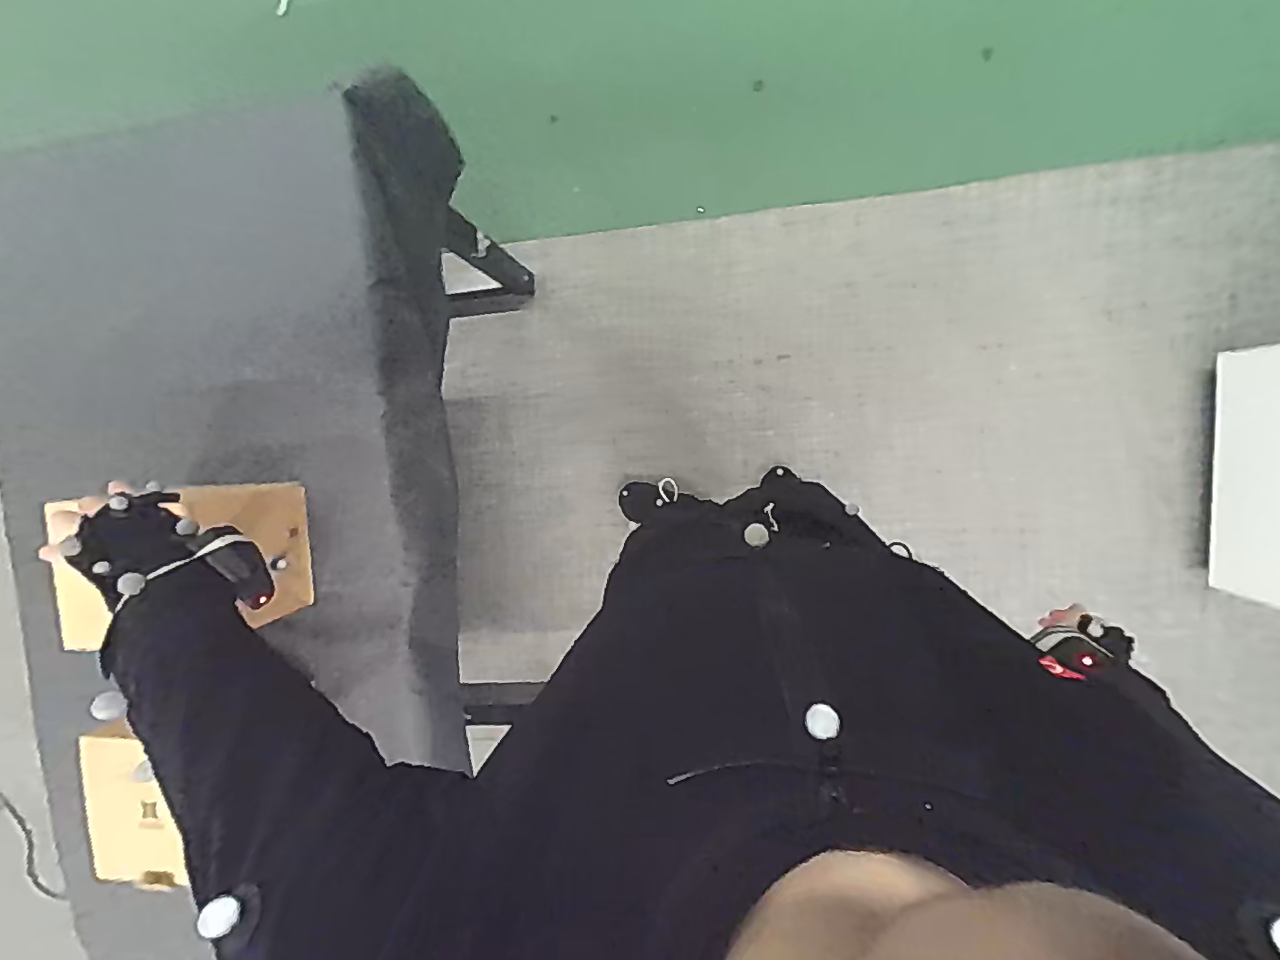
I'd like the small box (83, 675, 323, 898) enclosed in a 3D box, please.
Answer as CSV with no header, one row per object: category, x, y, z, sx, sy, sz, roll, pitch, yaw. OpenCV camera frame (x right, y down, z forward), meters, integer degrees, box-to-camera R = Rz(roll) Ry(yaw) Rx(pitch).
small box,-0.530,0.369,0.680,0.168,0.176,0.179,-1,94,8

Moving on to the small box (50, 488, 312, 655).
small box,-0.541,0.100,0.658,0.179,0.176,0.168,-2,94,8
